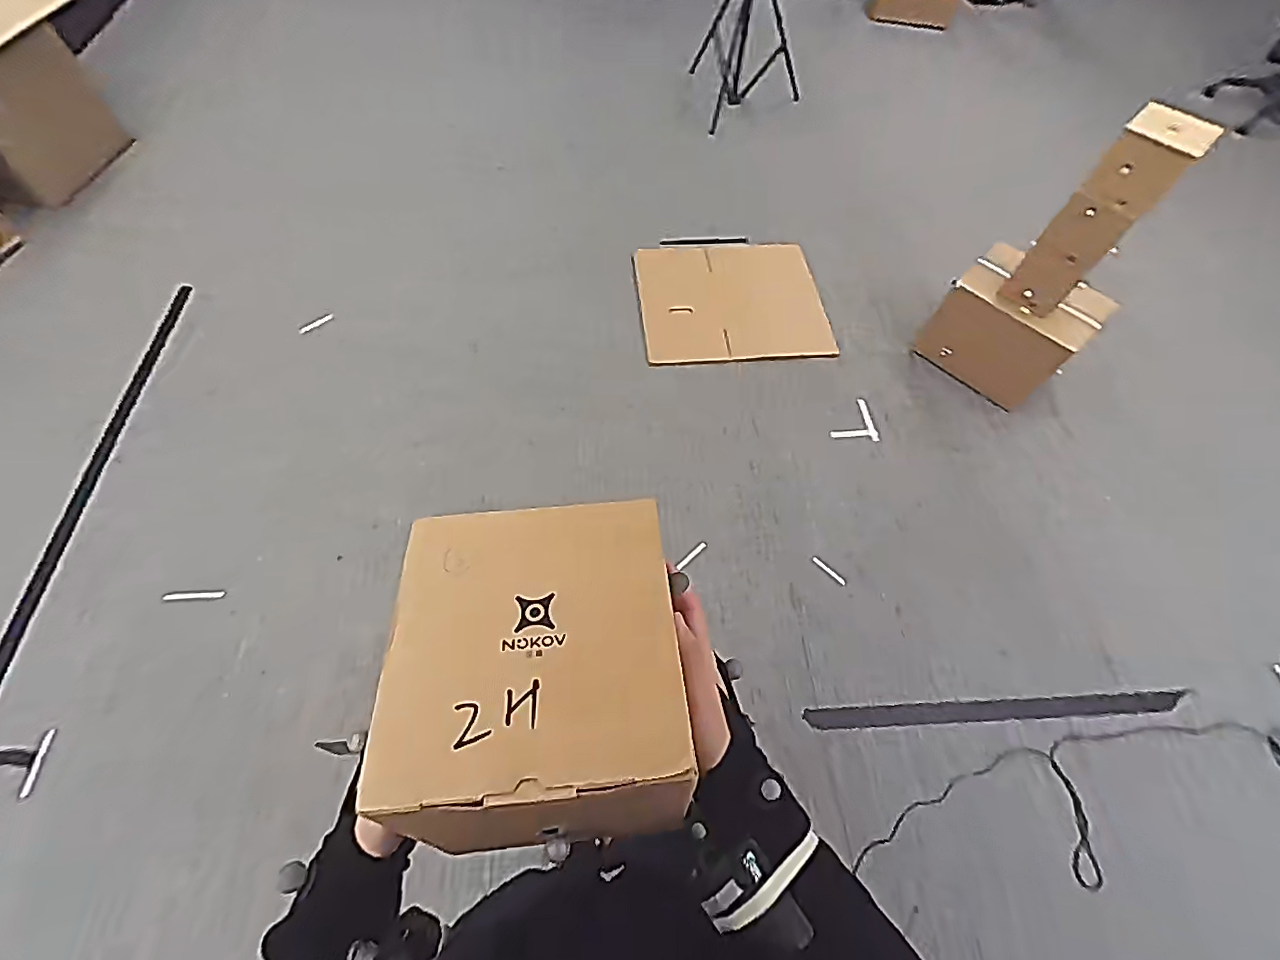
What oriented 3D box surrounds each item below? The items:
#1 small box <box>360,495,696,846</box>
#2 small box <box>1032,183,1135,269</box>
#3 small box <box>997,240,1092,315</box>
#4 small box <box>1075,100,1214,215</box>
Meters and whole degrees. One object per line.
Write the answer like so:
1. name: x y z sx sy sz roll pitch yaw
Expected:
1. small box: -0.060 0.133 0.375 0.168 0.176 0.179 -5 51 -3
2. small box: 1.237 -0.721 1.491 0.168 0.176 0.179 41 66 20
3. small box: 1.230 -0.639 1.633 0.168 0.176 0.179 41 68 19
4. small box: 1.243 -0.798 1.347 0.168 0.176 0.179 41 67 19
